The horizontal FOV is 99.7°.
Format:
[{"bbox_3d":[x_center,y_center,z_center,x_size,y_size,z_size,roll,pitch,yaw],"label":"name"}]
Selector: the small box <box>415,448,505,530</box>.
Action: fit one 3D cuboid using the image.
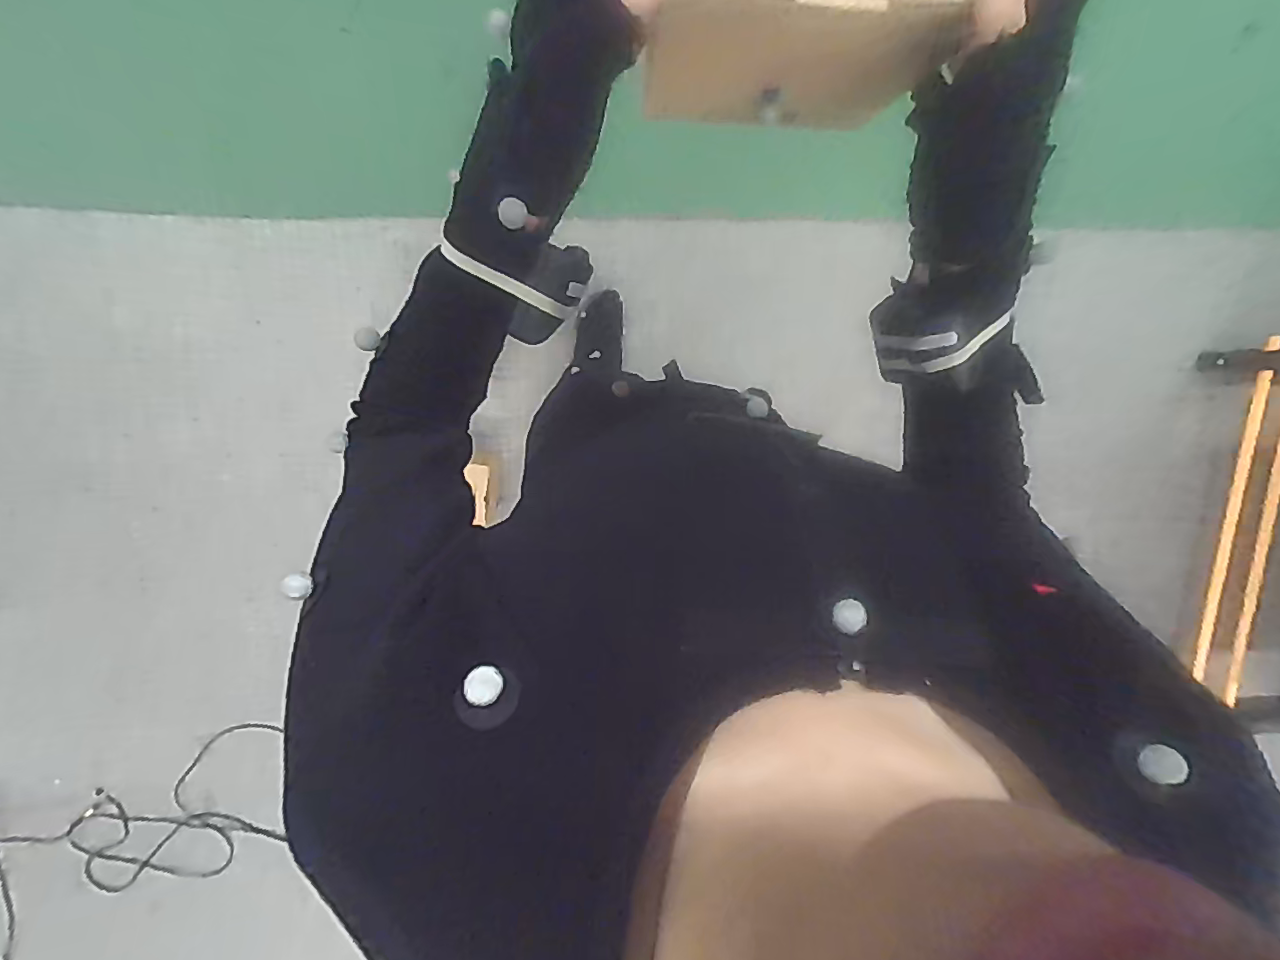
[{"bbox_3d":[-0.445,0.017,1.359,0.179,0.176,0.168,6,100,-4],"label":"small box"}]
